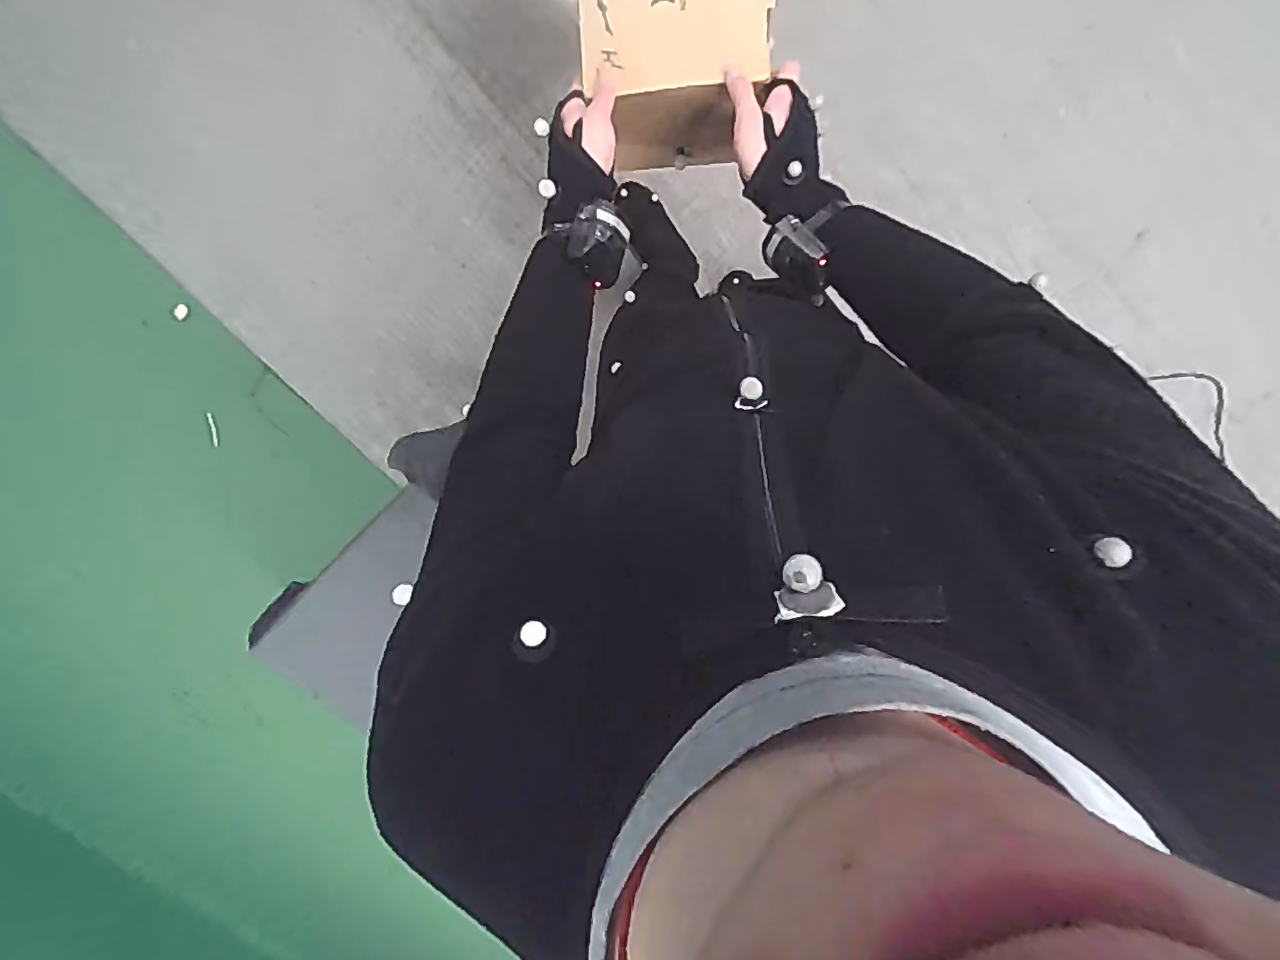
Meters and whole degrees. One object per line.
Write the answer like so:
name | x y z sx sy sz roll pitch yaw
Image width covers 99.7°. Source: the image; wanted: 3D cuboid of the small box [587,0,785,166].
small box | 0.043 -0.447 0.554 0.179 0.176 0.168 -1 97 4
